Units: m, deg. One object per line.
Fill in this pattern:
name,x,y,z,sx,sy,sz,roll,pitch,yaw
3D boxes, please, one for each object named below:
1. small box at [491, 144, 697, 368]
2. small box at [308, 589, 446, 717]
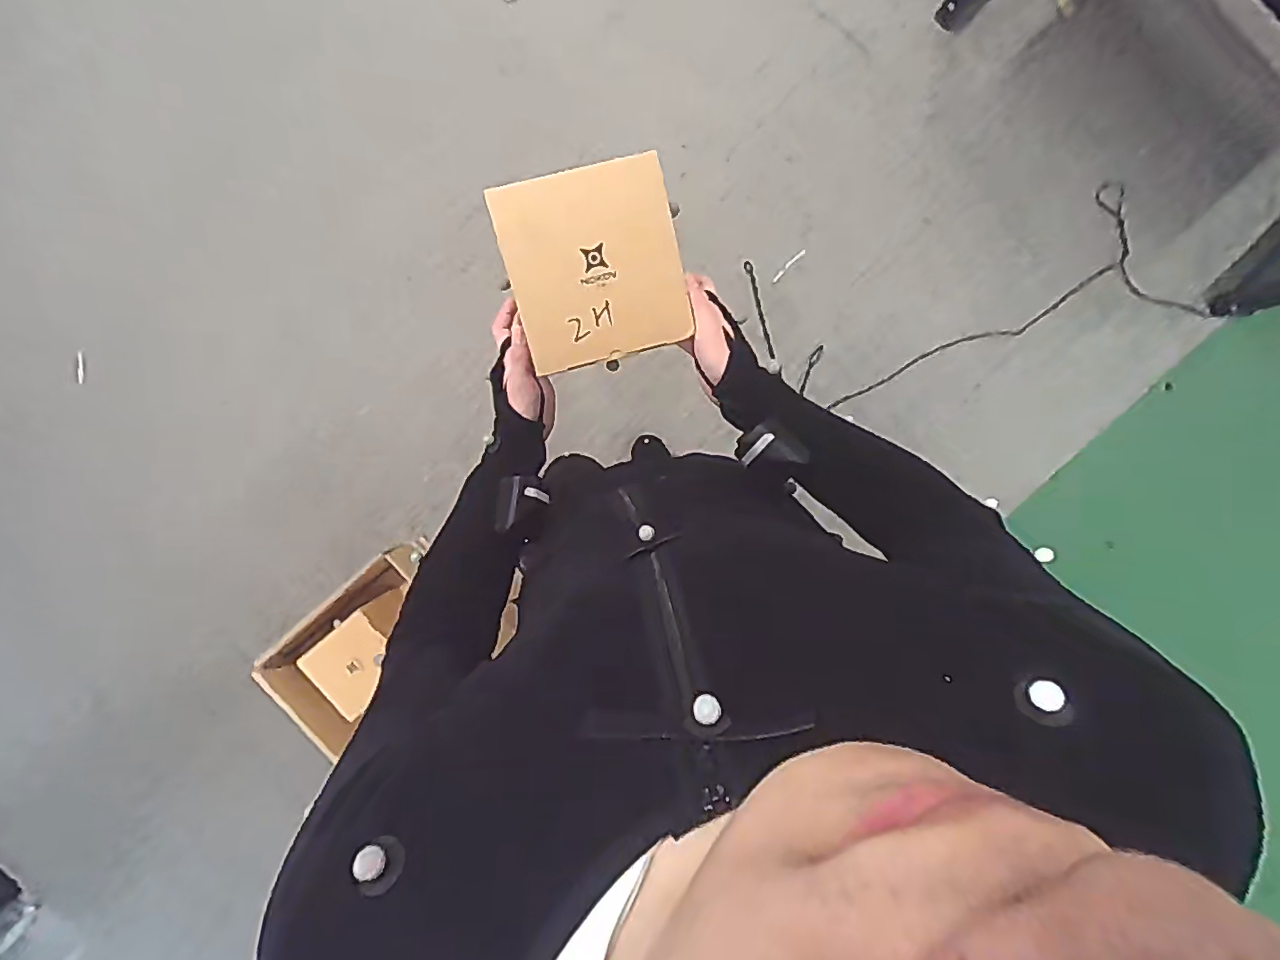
small box,-0.048,-0.226,0.590,0.168,0.176,0.179,-14,104,-1
small box,-0.563,0.369,1.181,0.179,0.176,0.168,-40,92,4
